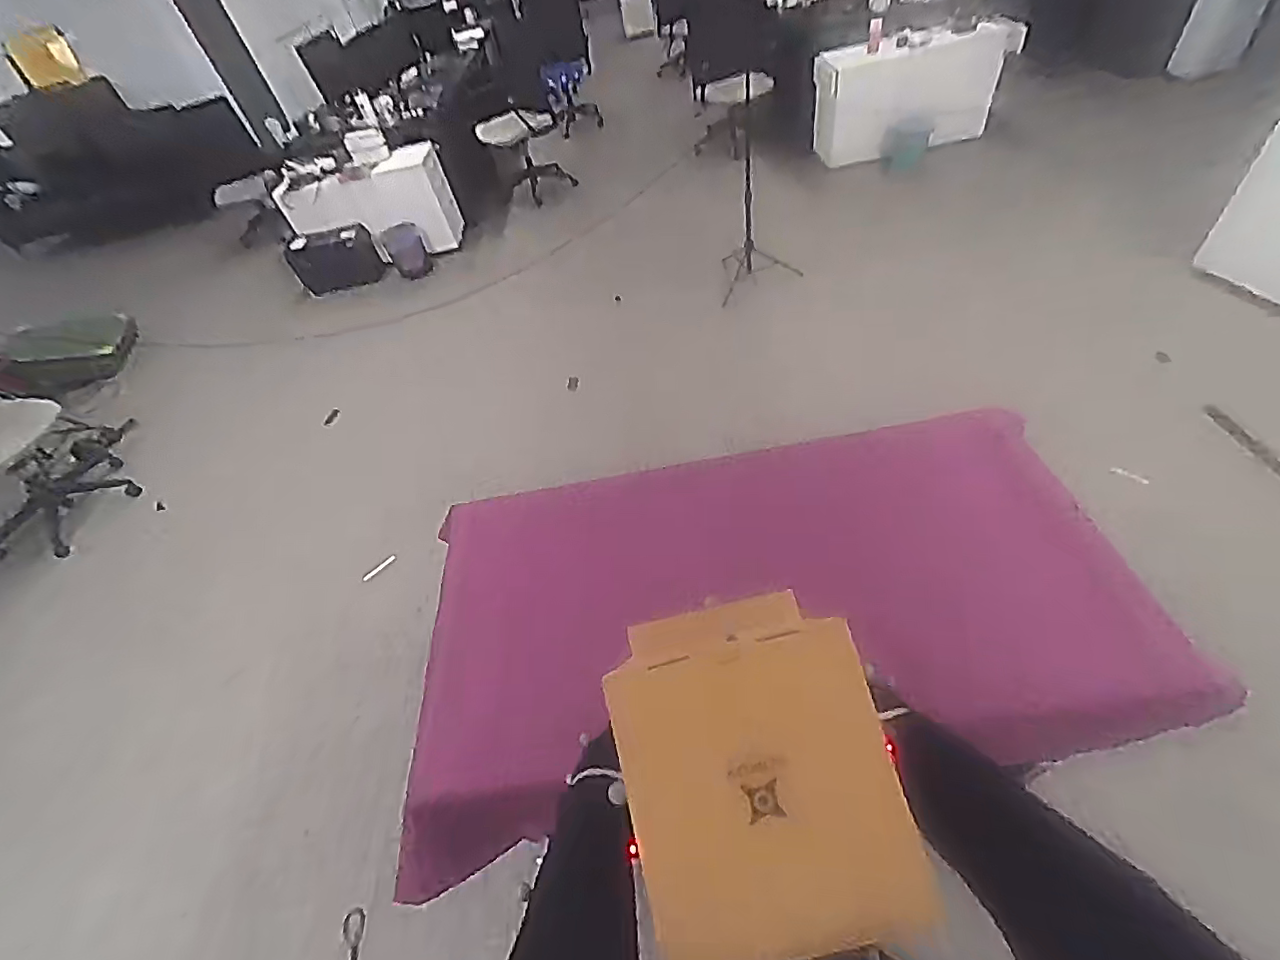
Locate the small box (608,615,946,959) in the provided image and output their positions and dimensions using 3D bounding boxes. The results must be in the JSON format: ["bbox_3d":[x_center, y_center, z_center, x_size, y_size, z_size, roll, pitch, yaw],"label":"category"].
[{"bbox_3d":[0.085,0.207,0.407,0.168,0.176,0.179,-15,73,1],"label":"small box"}]

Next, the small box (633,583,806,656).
[{"bbox_3d":[0.095,0.220,0.573,0.168,0.176,0.179,-14,73,2],"label":"small box"}]
